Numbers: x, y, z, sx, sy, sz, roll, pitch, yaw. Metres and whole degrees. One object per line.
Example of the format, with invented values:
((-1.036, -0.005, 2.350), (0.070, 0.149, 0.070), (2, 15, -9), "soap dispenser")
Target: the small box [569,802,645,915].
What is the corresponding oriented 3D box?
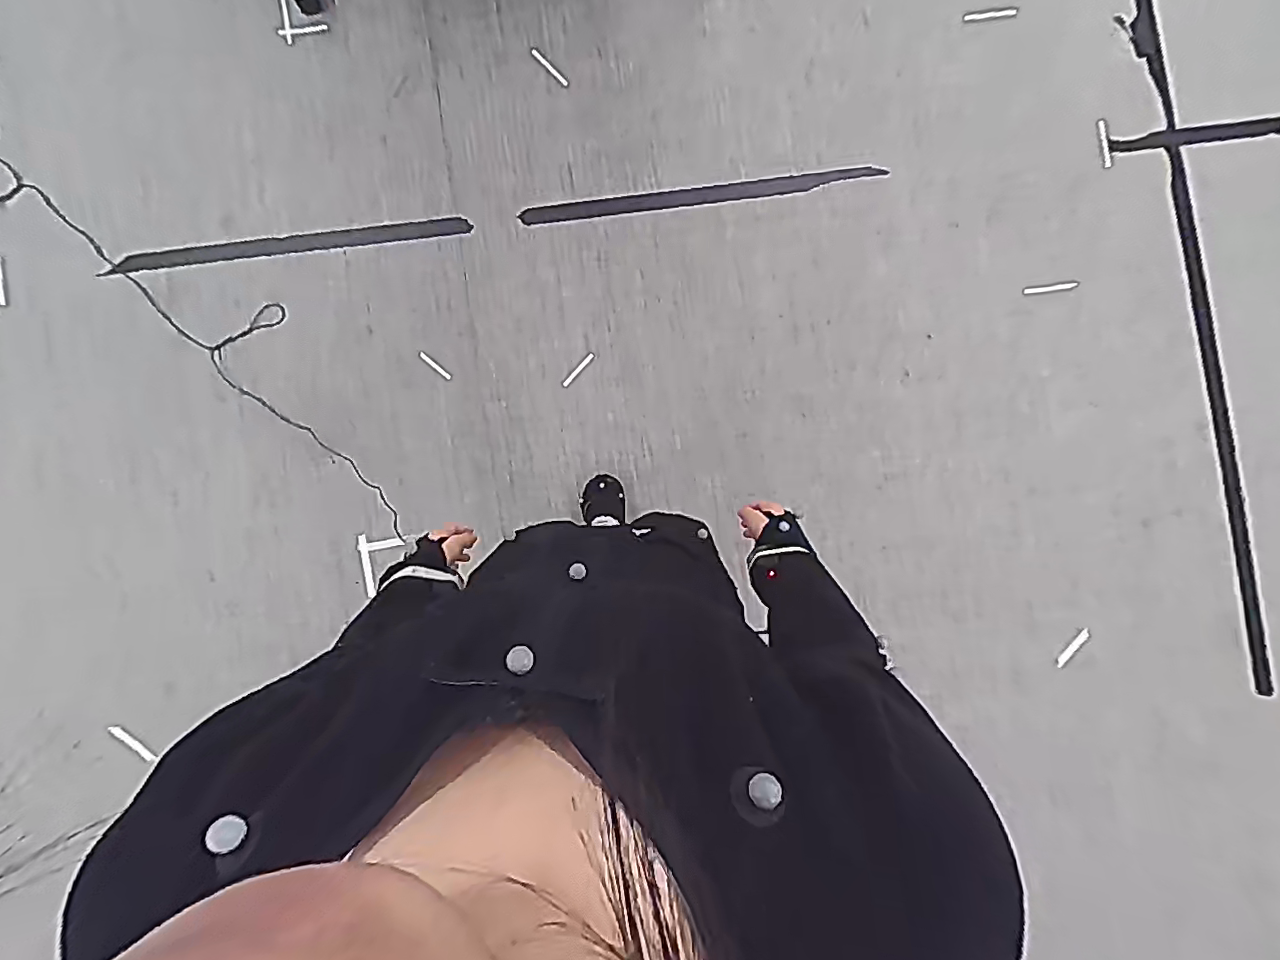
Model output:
((-0.084, 0.969, 1.407), (0.168, 0.176, 0.179), (-10, 89, -1), "small box")
